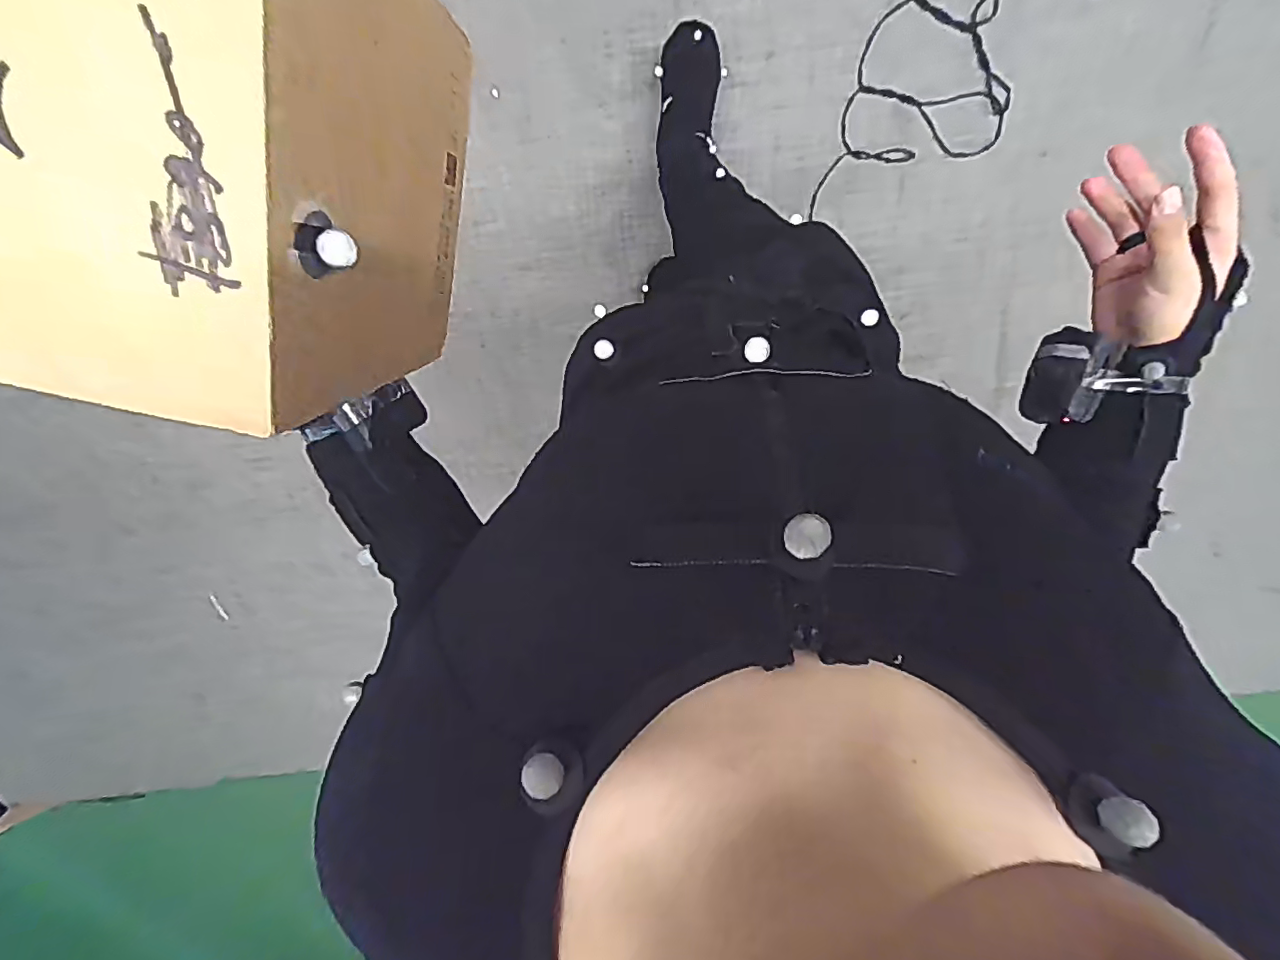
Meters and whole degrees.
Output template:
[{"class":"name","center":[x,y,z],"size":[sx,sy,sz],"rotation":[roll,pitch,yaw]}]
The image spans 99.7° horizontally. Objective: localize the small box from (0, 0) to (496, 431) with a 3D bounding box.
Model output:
[{"class":"small box","center":[-0.179,-0.139,0.232],"size":[0.179,0.176,0.168],"rotation":[13,113,-4]}]
